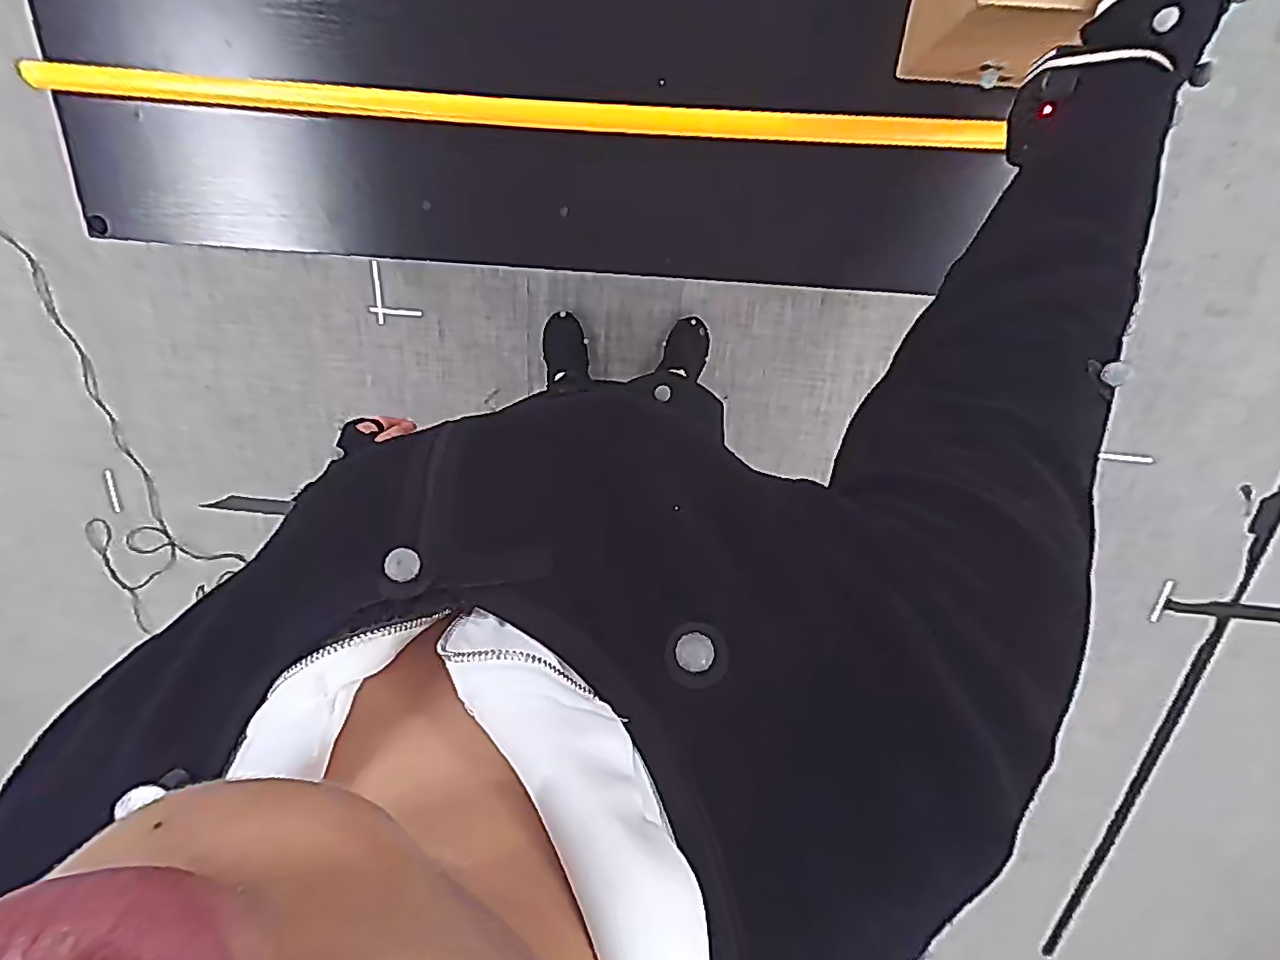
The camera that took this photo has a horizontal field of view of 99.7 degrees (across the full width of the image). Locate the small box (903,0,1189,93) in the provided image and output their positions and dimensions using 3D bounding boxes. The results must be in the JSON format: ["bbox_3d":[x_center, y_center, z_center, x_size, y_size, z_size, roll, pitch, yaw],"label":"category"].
[{"bbox_3d":[0.359,-0.477,0.475,0.168,0.176,0.179,7,111,1],"label":"small box"}]
